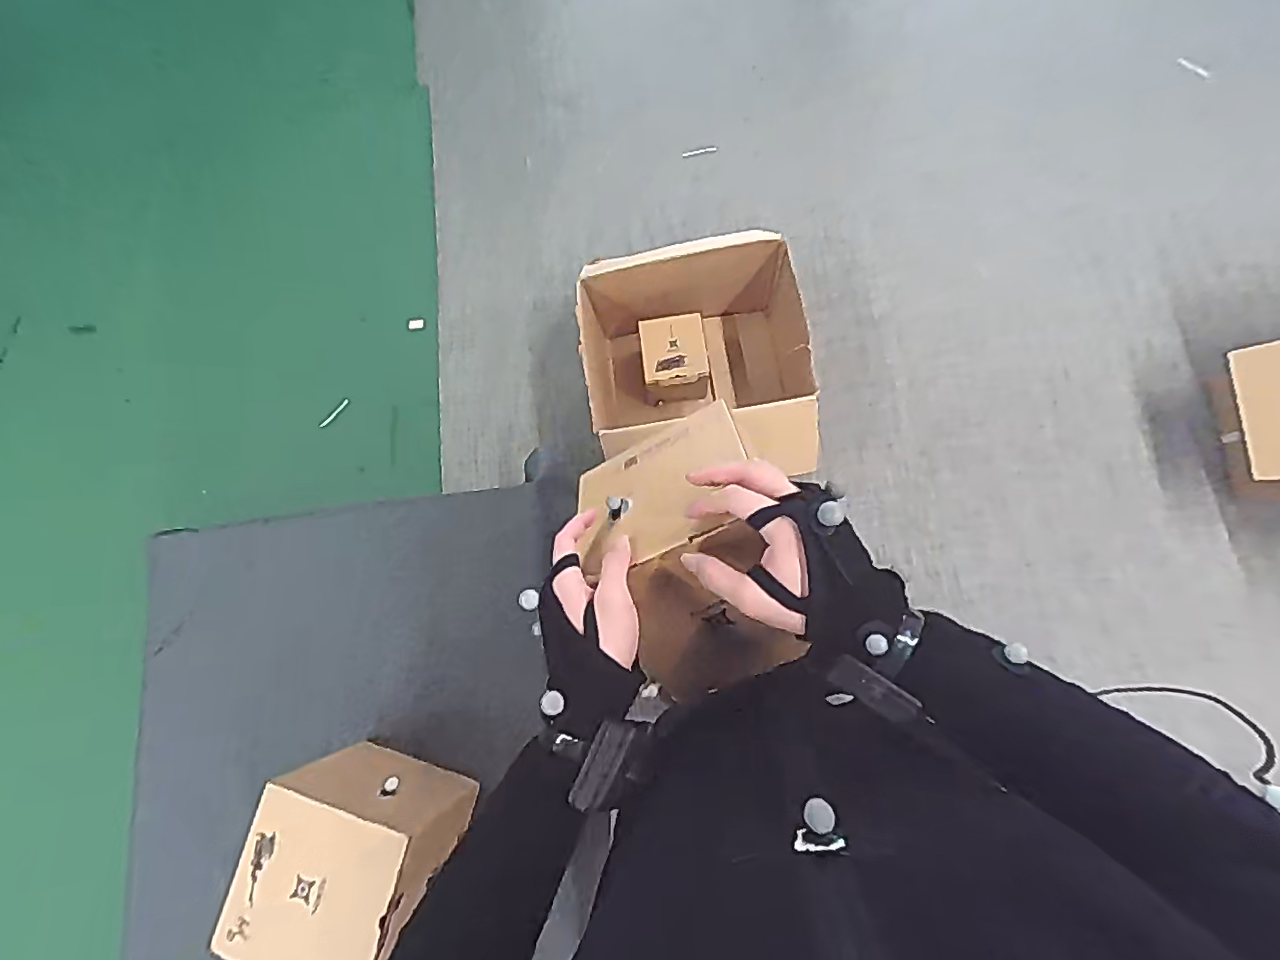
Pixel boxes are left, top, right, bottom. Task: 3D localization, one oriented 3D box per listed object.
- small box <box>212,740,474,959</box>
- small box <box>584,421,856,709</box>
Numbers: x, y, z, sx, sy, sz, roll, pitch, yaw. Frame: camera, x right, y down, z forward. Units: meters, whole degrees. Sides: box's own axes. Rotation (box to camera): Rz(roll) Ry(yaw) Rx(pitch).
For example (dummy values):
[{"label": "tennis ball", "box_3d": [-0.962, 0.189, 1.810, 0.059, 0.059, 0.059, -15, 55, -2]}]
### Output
[{"label": "small box", "box_3d": [-0.319, 0.423, 0.621, 0.179, 0.176, 0.168, 14, 80, 10]}, {"label": "small box", "box_3d": [0.064, 0.068, 0.496, 0.168, 0.179, 0.176, -28, 31, 16]}]
